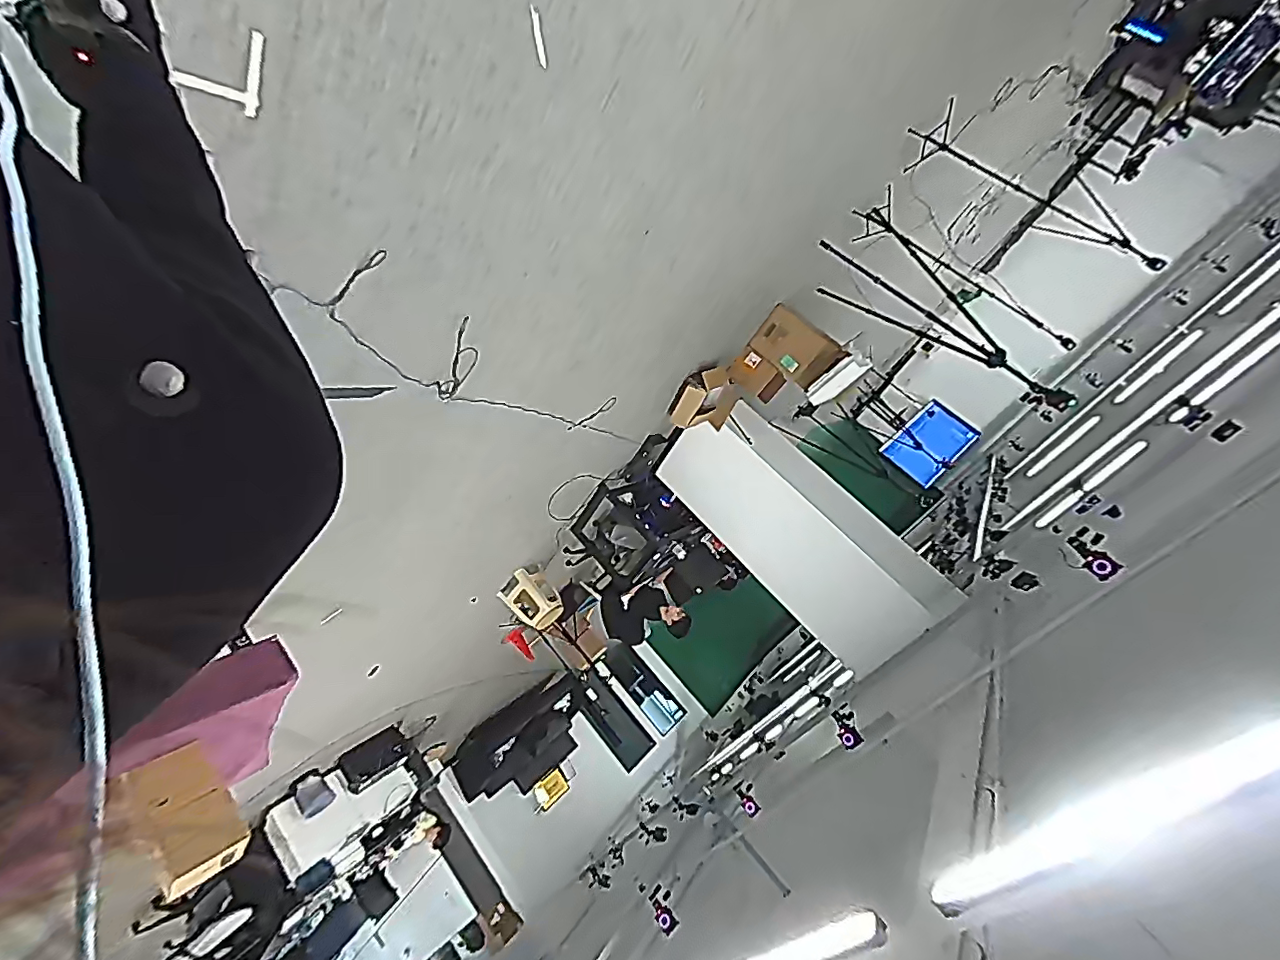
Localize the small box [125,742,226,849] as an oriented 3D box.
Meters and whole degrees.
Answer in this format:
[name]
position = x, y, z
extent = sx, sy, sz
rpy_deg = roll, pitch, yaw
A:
[small box]
position = -1.341, 0.900, 1.556
extent = 0.179, 0.176, 0.168
rpy_deg = -15, 146, -56
